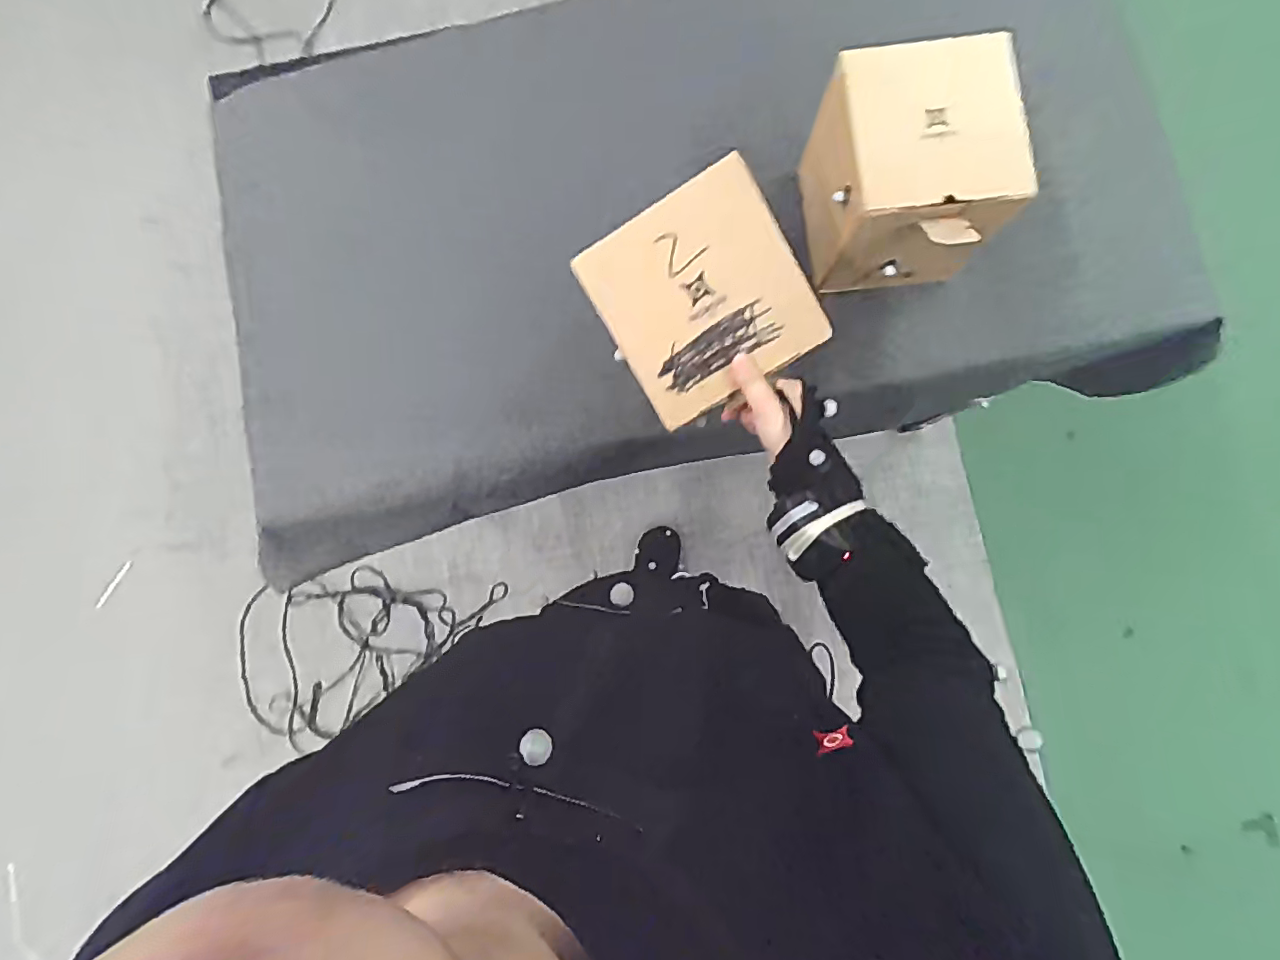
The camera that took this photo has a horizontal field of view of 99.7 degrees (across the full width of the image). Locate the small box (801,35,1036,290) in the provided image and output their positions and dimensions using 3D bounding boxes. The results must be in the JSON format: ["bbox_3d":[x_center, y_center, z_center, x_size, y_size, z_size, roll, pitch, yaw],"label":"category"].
[{"bbox_3d":[0.290,-0.338,0.604,0.168,0.176,0.179,-6,84,1],"label":"small box"}]
